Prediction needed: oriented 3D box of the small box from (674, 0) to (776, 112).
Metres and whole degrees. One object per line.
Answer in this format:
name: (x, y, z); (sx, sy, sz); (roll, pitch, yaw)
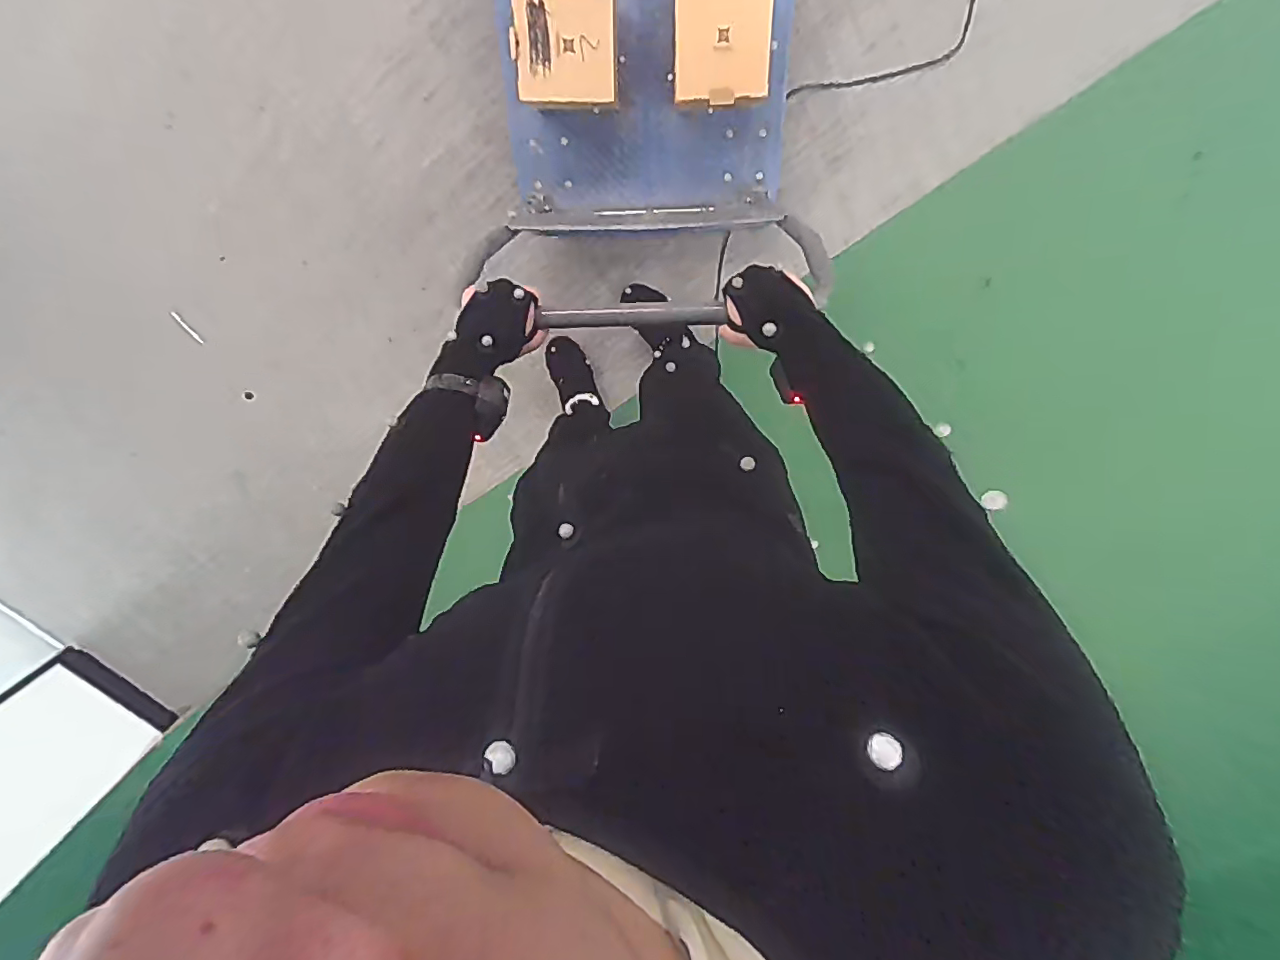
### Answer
small box: (0.149, -0.795, 0.999); (0.168, 0.176, 0.179); (-1, 122, 3)
